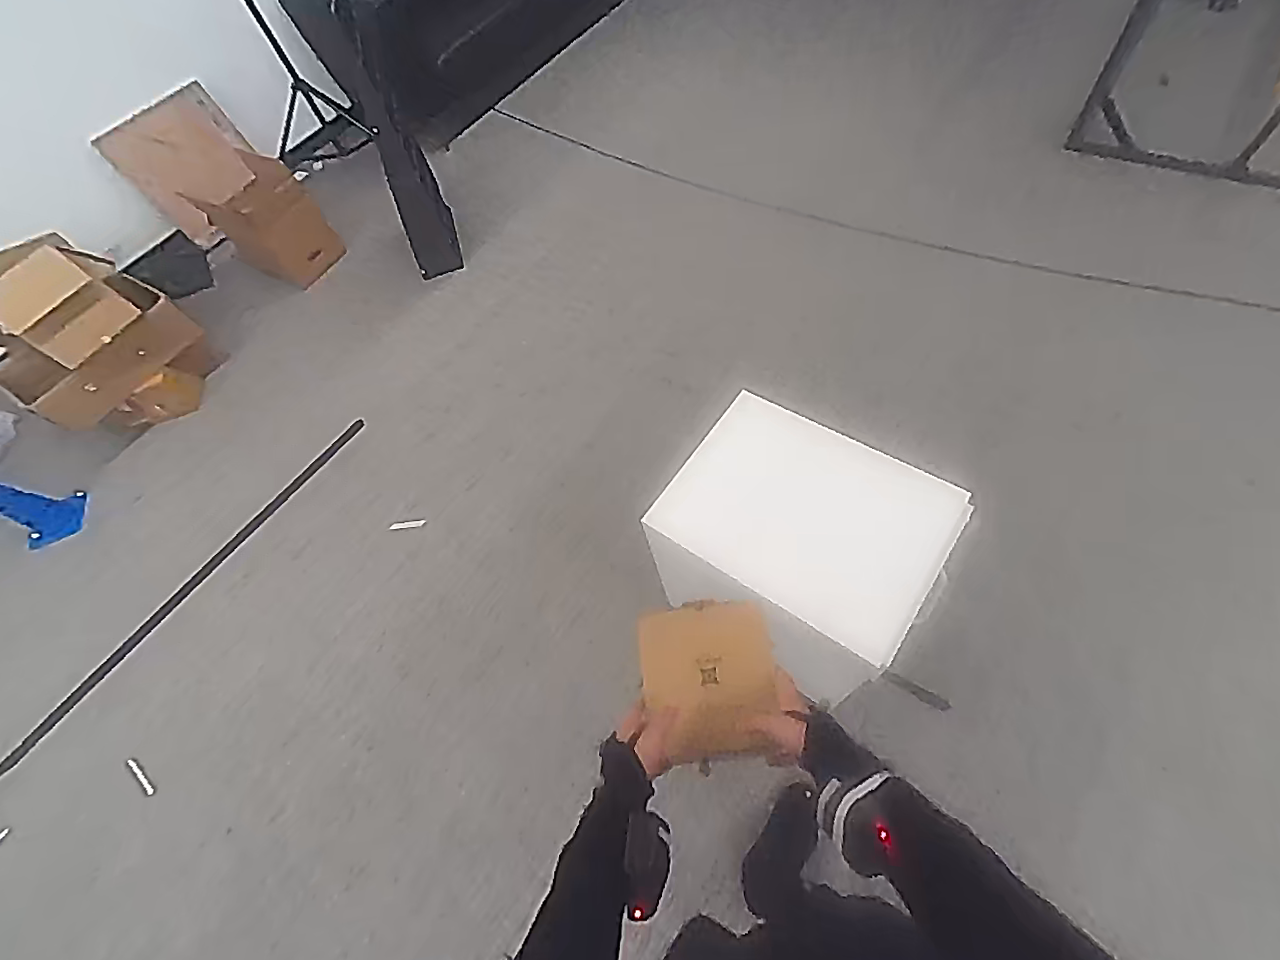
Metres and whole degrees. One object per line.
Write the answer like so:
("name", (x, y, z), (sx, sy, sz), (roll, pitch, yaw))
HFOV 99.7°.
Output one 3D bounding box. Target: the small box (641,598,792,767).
("small box", (0.093, 0.276, 0.729), (0.168, 0.176, 0.179), (-7, 58, 2))
